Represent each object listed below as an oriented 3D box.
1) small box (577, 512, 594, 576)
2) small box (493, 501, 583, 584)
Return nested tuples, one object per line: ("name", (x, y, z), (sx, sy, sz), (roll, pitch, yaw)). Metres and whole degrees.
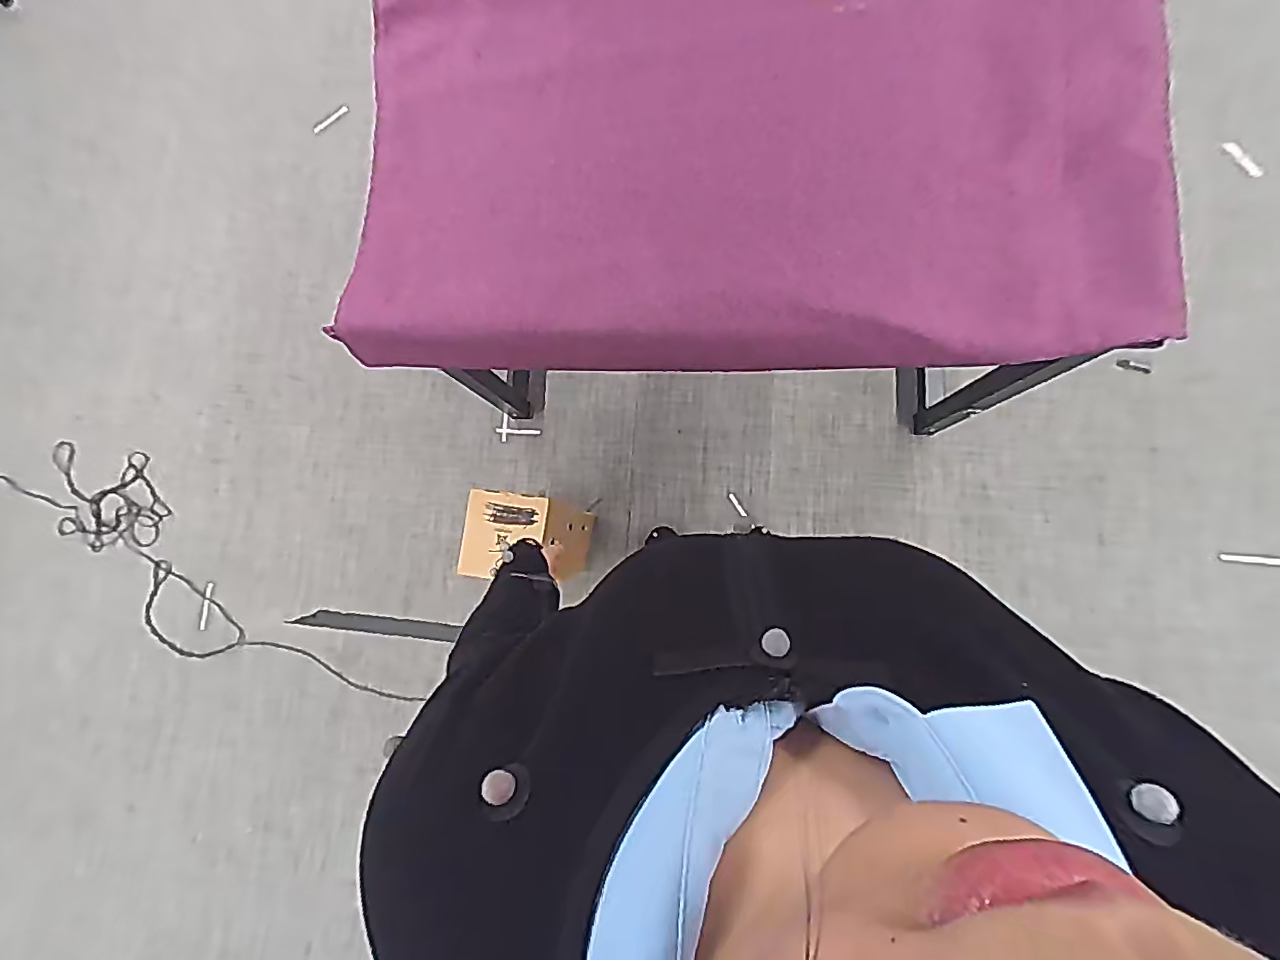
("small box", (-0.229, 0.166, 1.471), (0.168, 0.176, 0.179), (10, 84, 7))
("small box", (-0.238, 0.150, 1.307), (0.168, 0.176, 0.179), (4, 84, 7))
